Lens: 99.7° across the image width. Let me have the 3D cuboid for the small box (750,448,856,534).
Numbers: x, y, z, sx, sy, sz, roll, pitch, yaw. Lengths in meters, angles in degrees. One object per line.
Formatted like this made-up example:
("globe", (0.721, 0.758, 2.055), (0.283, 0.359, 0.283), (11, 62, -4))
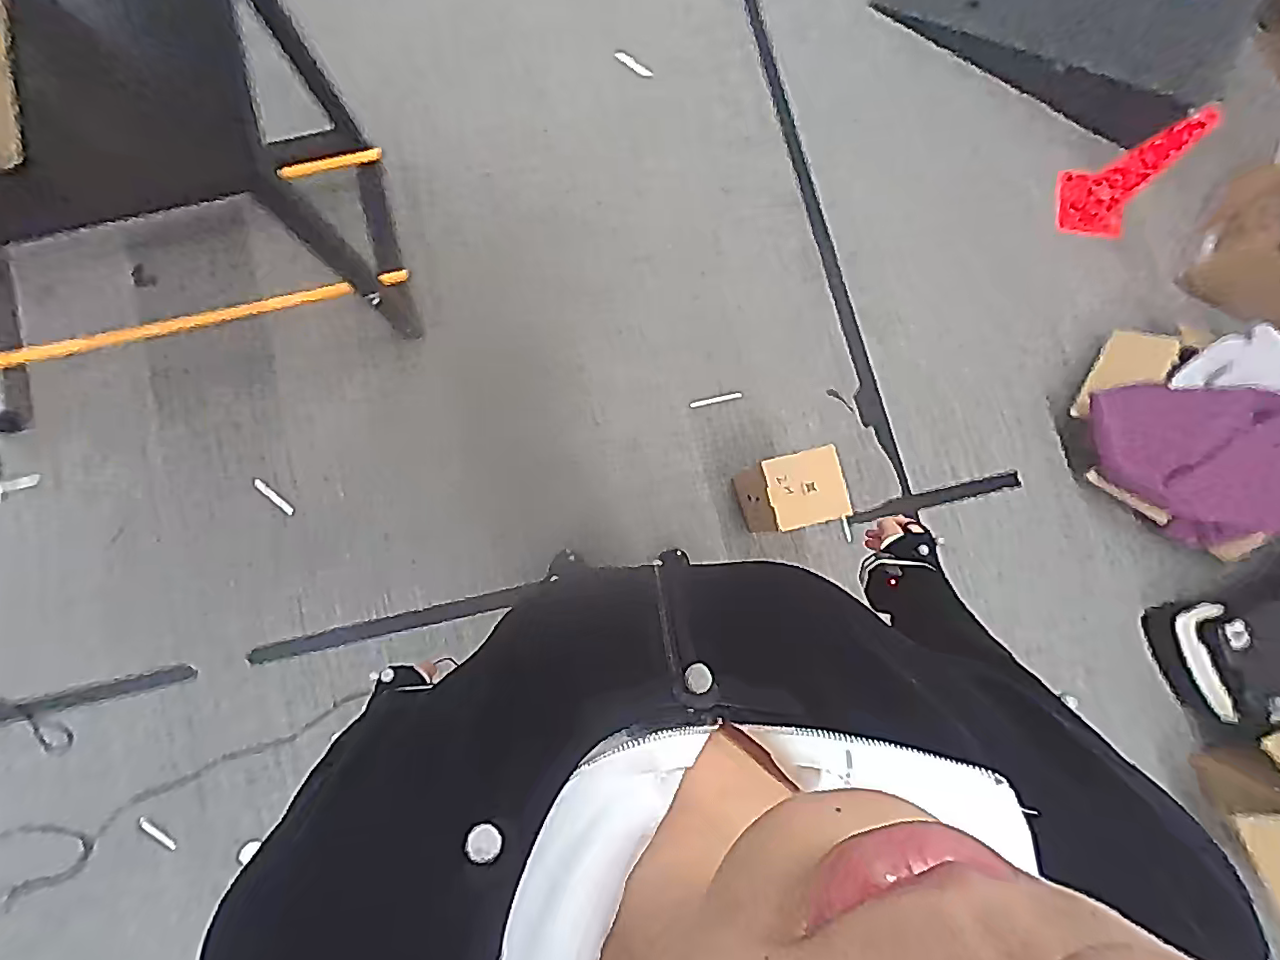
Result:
("small box", (0.379, 0.030, 1.284), (0.179, 0.176, 0.168), (-13, 84, -2))

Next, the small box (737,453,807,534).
("small box", (0.372, 0.042, 1.449), (0.168, 0.176, 0.179), (-17, 85, -3))
